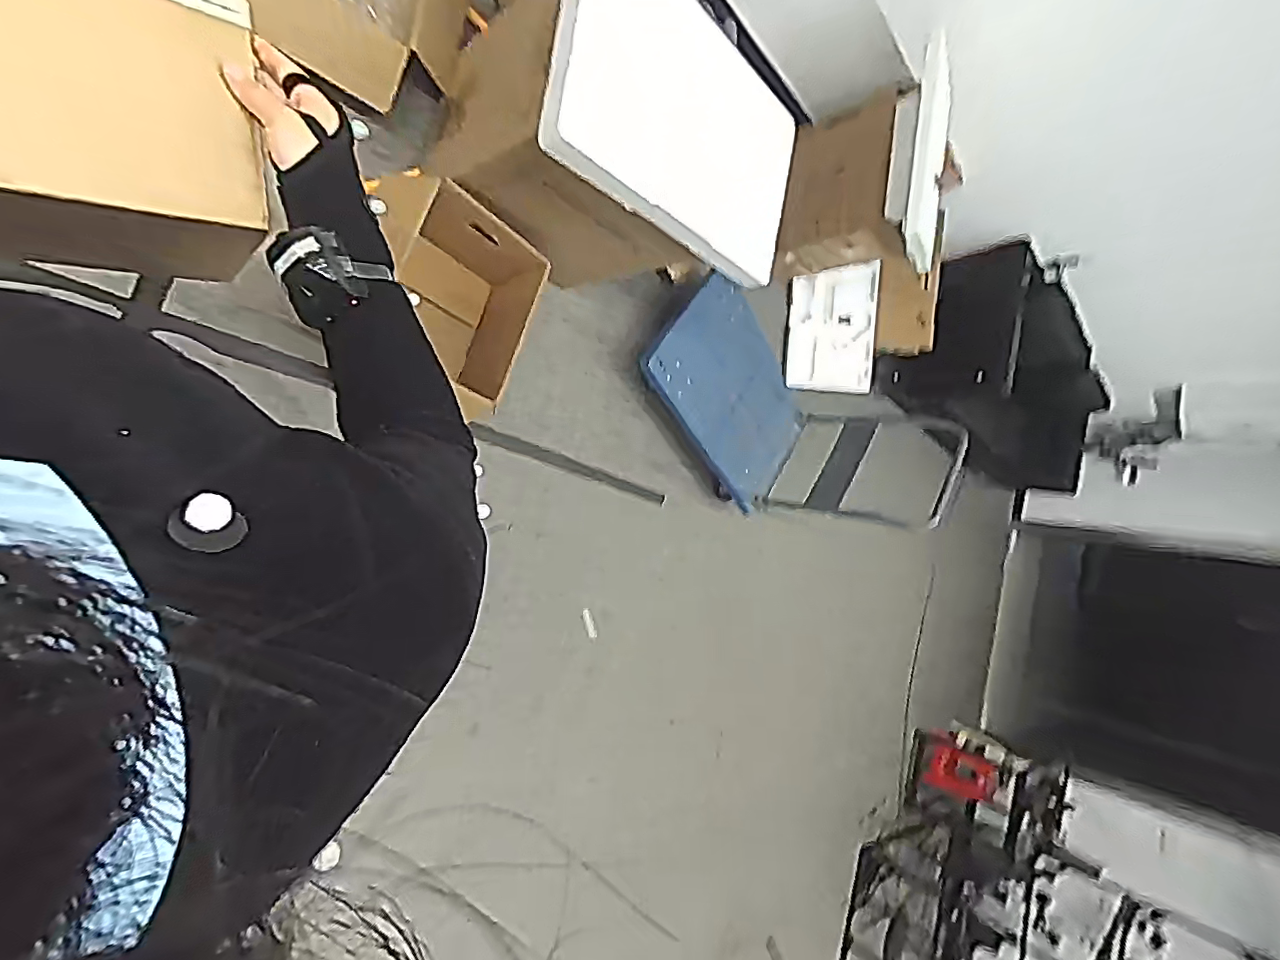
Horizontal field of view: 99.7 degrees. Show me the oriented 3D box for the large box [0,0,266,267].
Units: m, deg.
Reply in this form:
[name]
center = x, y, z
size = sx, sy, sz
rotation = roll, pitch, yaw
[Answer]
[large box]
center = -0.566, -0.362, 0.411
size = 0.408, 0.320, 0.320
rotation = -10, 104, -41
